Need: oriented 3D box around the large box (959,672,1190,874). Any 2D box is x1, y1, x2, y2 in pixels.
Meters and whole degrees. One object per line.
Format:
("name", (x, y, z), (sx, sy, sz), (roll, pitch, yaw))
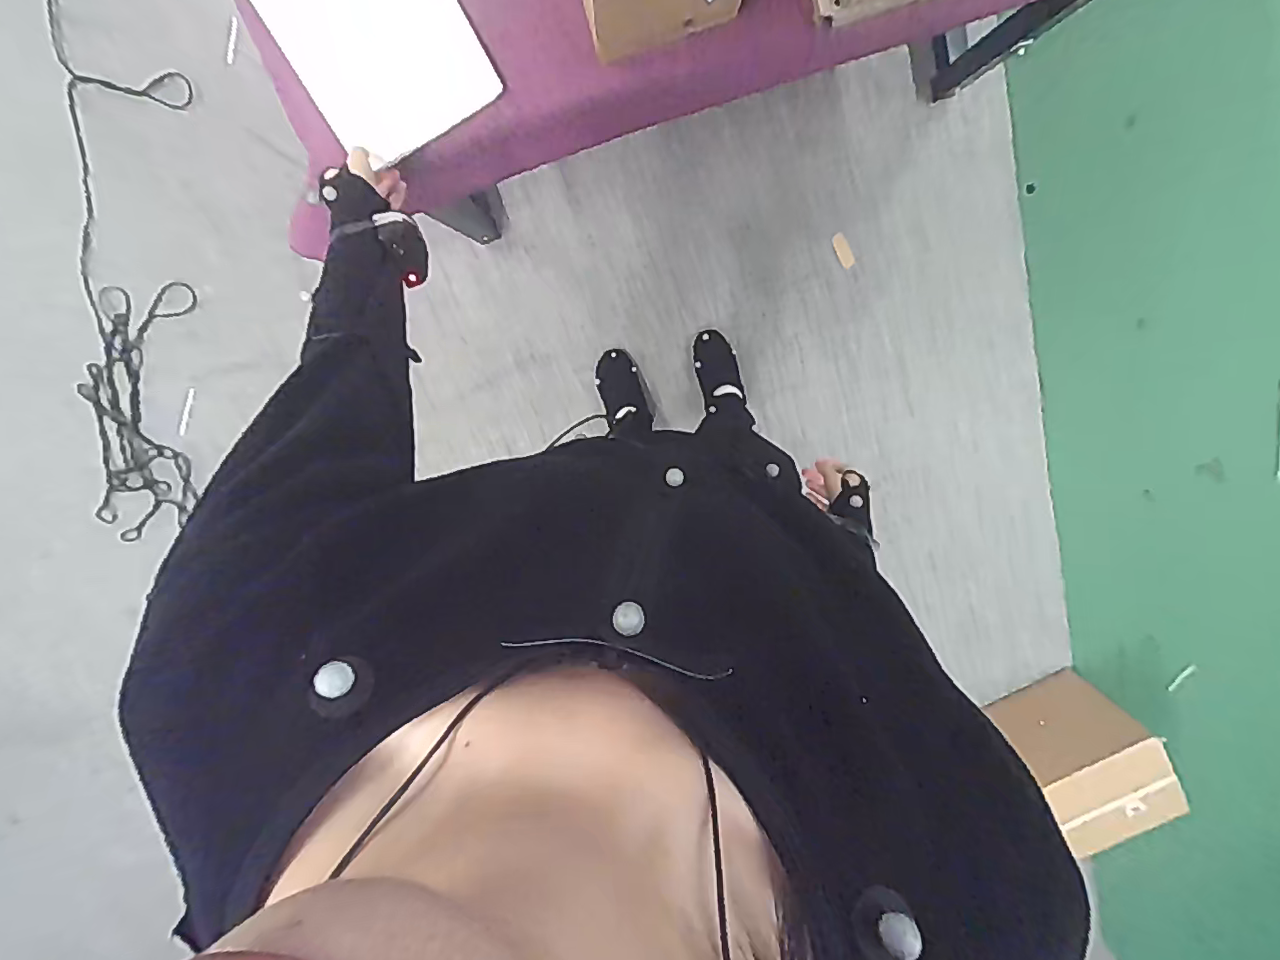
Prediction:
("large box", (1.292, 0.874, 1.645), (0.408, 0.320, 0.320), (-32, 105, 6))
